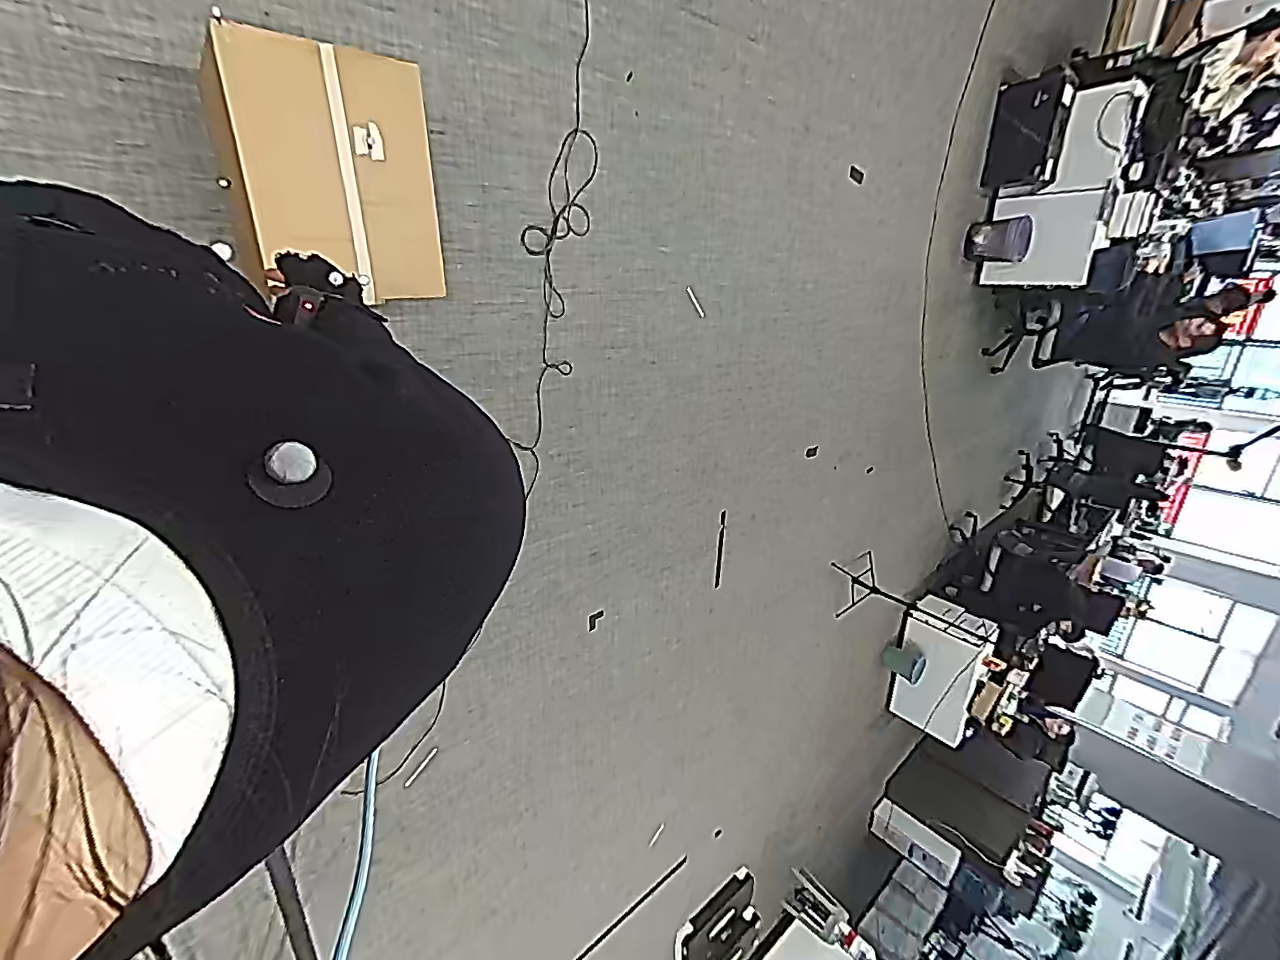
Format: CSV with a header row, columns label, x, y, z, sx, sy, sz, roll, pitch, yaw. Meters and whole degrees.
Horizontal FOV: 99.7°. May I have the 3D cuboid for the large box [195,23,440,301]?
label,x,y,z,sx,sy,sz,roll,pitch,yaw
large box,-0.635,-0.578,1.080,0.320,0.320,0.408,-18,116,-38
